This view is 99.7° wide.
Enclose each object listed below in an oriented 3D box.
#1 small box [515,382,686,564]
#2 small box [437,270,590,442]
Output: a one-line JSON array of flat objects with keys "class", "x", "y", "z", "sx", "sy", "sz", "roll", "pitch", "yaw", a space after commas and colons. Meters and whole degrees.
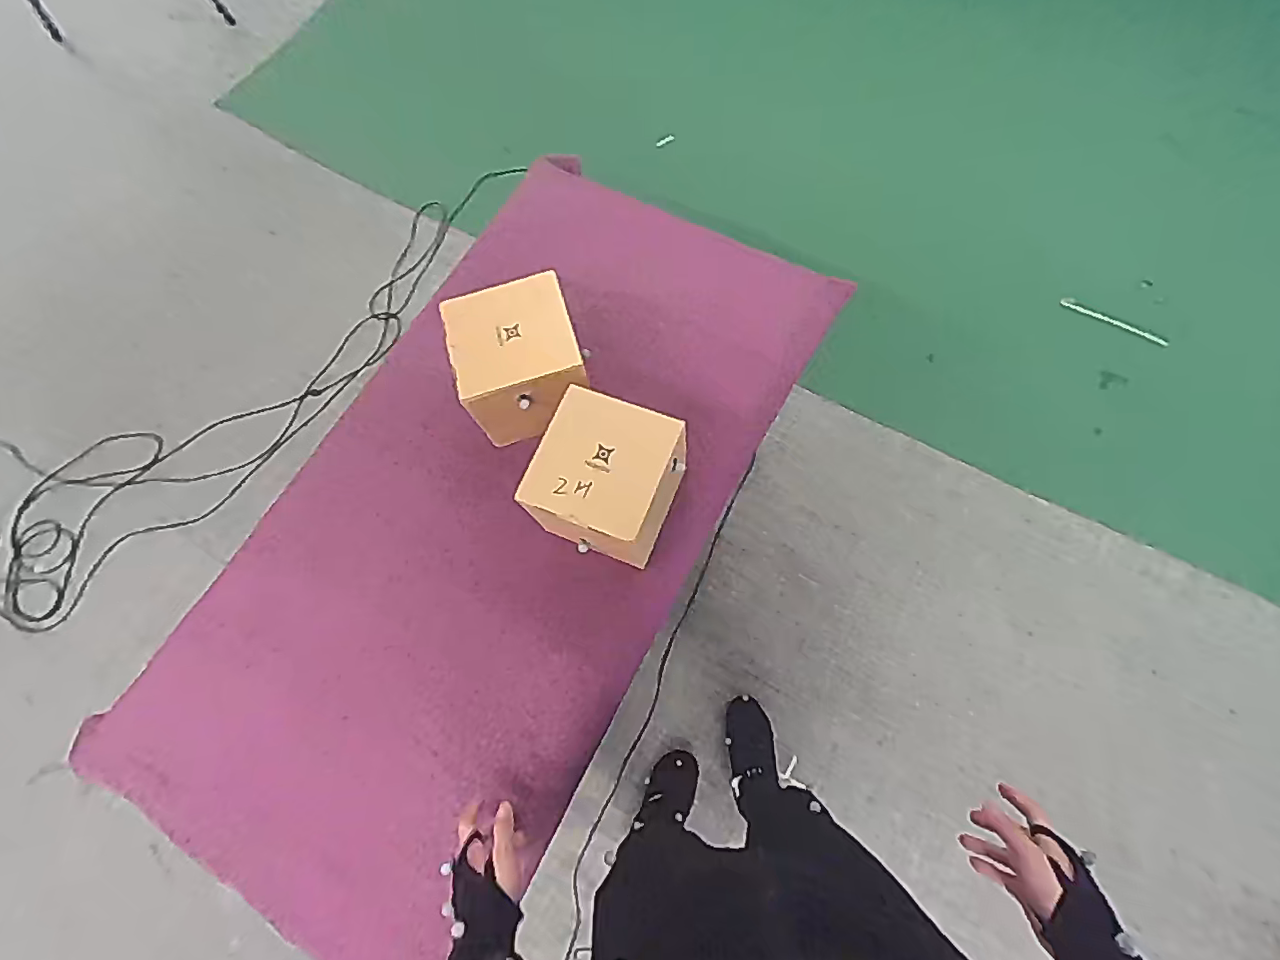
[{"class": "small box", "x": -0.044, "y": -0.001, "z": 0.751, "sx": 0.168, "sy": 0.176, "sz": 0.179, "roll": 20, "pitch": 75, "yaw": 12}, {"class": "small box", "x": -0.178, "y": -0.179, "z": 0.823, "sx": 0.179, "sy": 0.176, "sz": 0.168, "roll": -18, "pitch": 72, "yaw": -1}]
